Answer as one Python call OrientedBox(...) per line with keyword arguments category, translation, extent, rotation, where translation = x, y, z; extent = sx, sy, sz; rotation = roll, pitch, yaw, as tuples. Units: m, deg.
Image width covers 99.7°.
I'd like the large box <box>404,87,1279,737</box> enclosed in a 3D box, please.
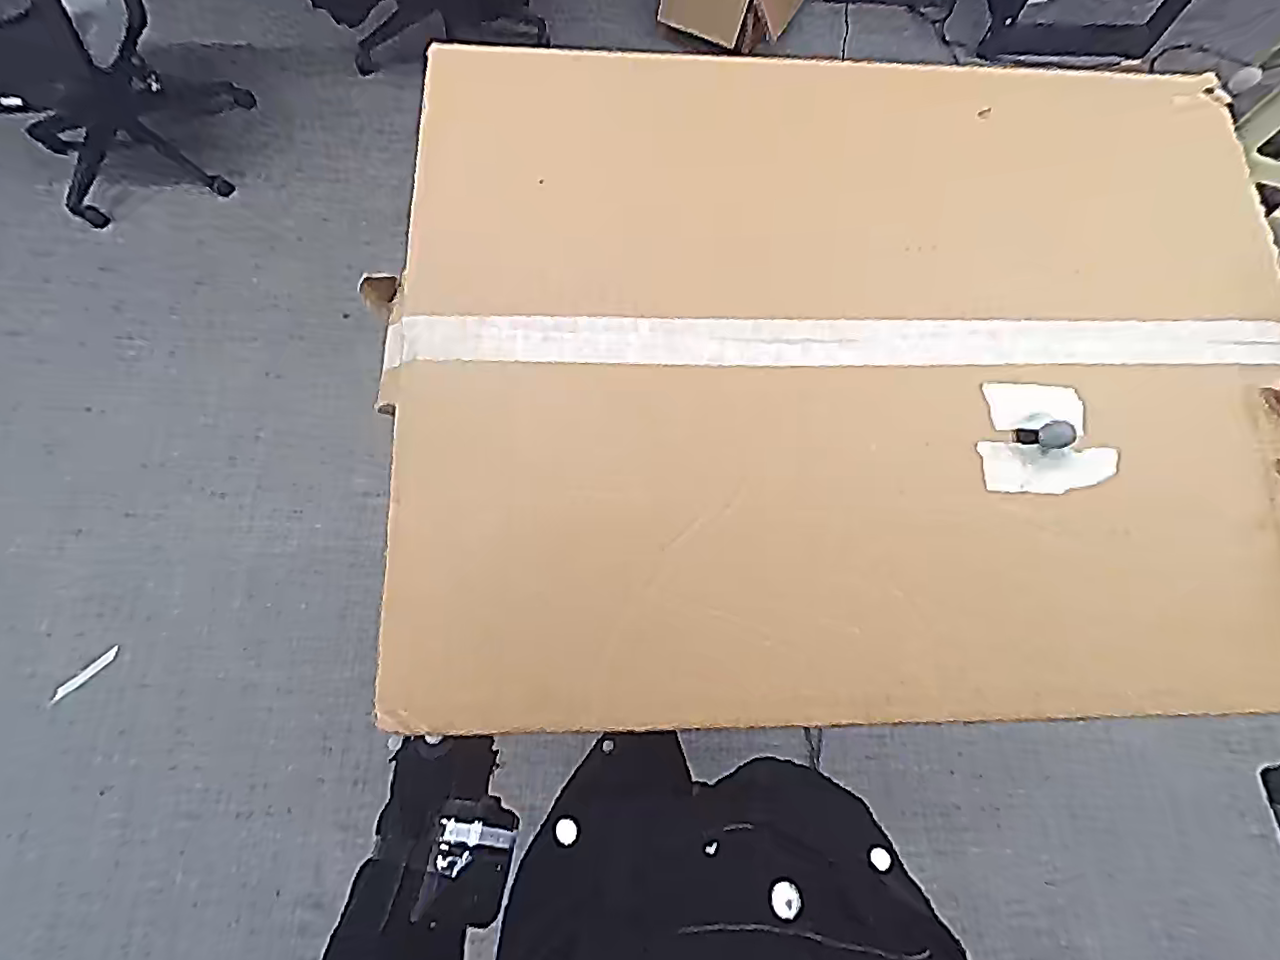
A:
OrientedBox(category="large box", translation=(0.088, -0.021, 0.399), extent=(0.408, 0.320, 0.320), rotation=(0, 78, -4))
